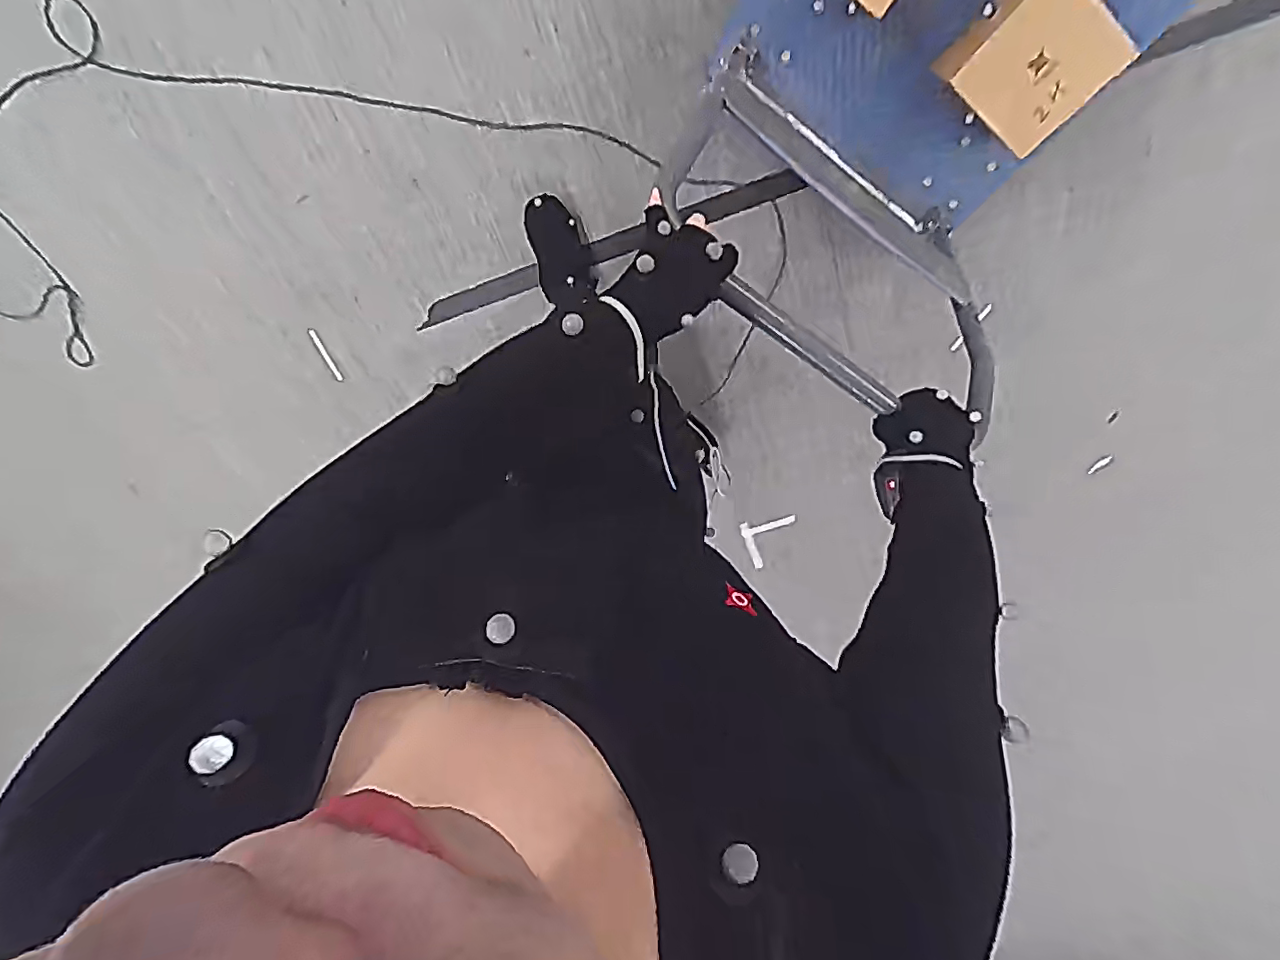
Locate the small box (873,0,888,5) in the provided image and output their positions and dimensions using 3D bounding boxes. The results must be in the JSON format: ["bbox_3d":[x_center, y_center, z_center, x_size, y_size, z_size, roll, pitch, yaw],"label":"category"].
[{"bbox_3d":[0.326,-0.809,0.750,0.179,0.176,0.168,28,134,-13],"label":"small box"}]

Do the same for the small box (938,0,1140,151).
[{"bbox_3d":[0.589,-0.650,0.824,0.179,0.176,0.168,34,133,-16],"label":"small box"}]
